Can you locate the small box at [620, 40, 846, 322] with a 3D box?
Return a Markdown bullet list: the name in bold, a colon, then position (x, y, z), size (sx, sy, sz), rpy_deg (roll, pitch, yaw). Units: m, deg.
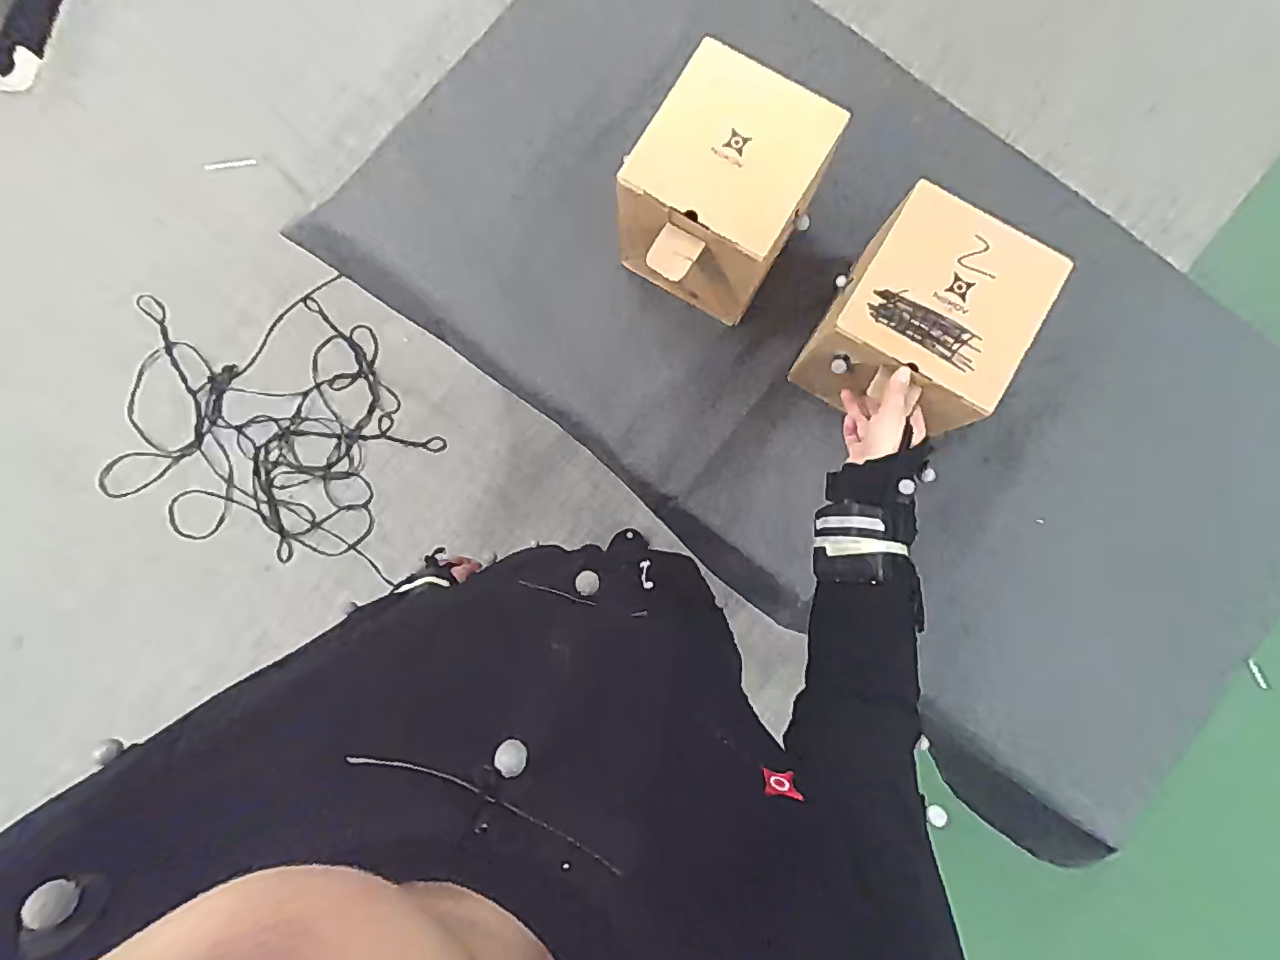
- **small box**: position (0.089, -0.312, 0.600), size (0.168, 0.176, 0.179), rpy_deg (30, 85, 3)
